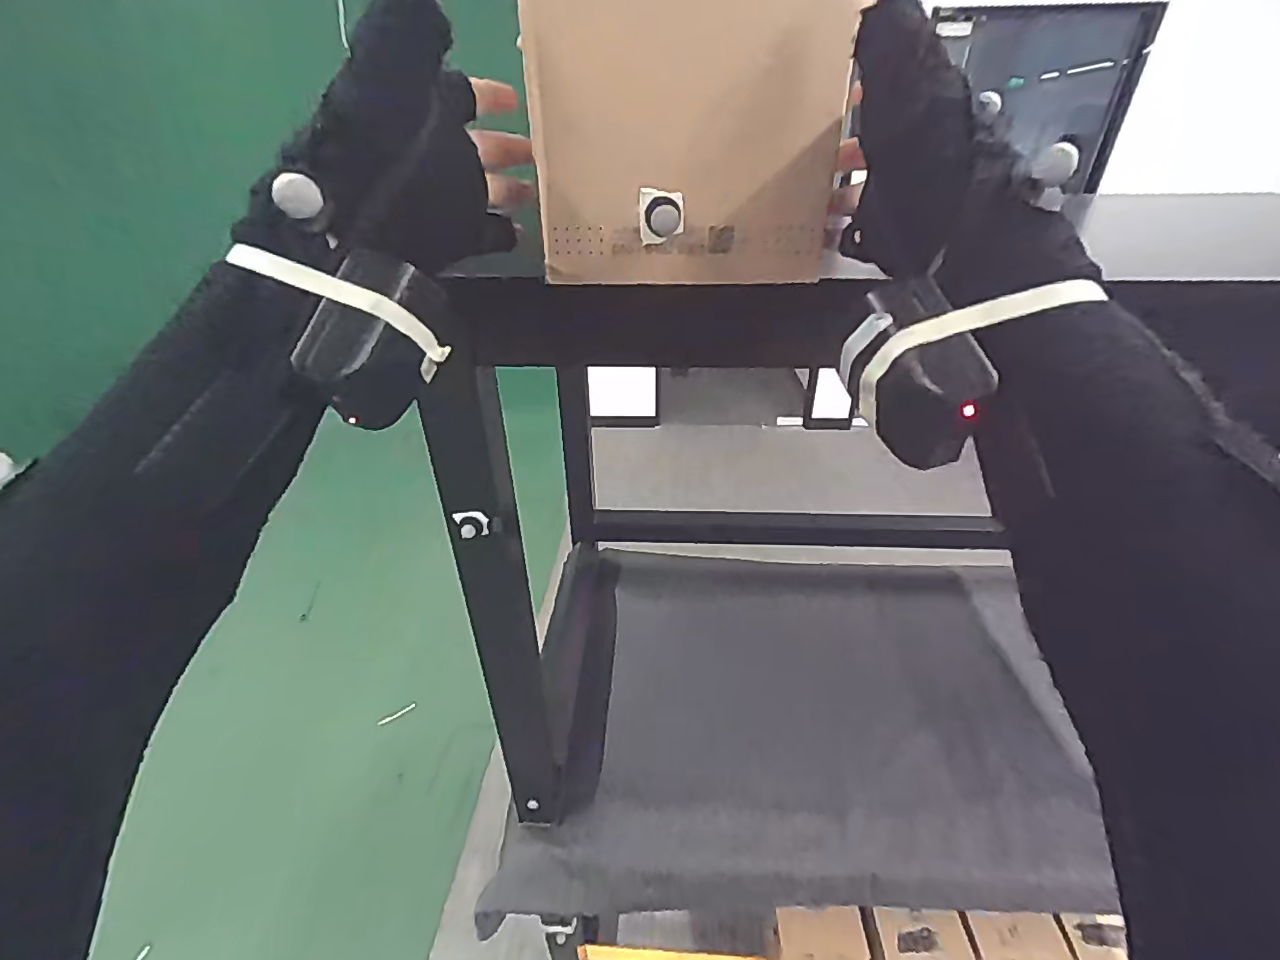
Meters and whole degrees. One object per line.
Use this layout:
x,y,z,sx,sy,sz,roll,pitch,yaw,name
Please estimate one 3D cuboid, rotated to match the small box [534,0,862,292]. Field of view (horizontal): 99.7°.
0.025,-0.232,0.363,0.168,0.176,0.179,-2,32,-1,small box
